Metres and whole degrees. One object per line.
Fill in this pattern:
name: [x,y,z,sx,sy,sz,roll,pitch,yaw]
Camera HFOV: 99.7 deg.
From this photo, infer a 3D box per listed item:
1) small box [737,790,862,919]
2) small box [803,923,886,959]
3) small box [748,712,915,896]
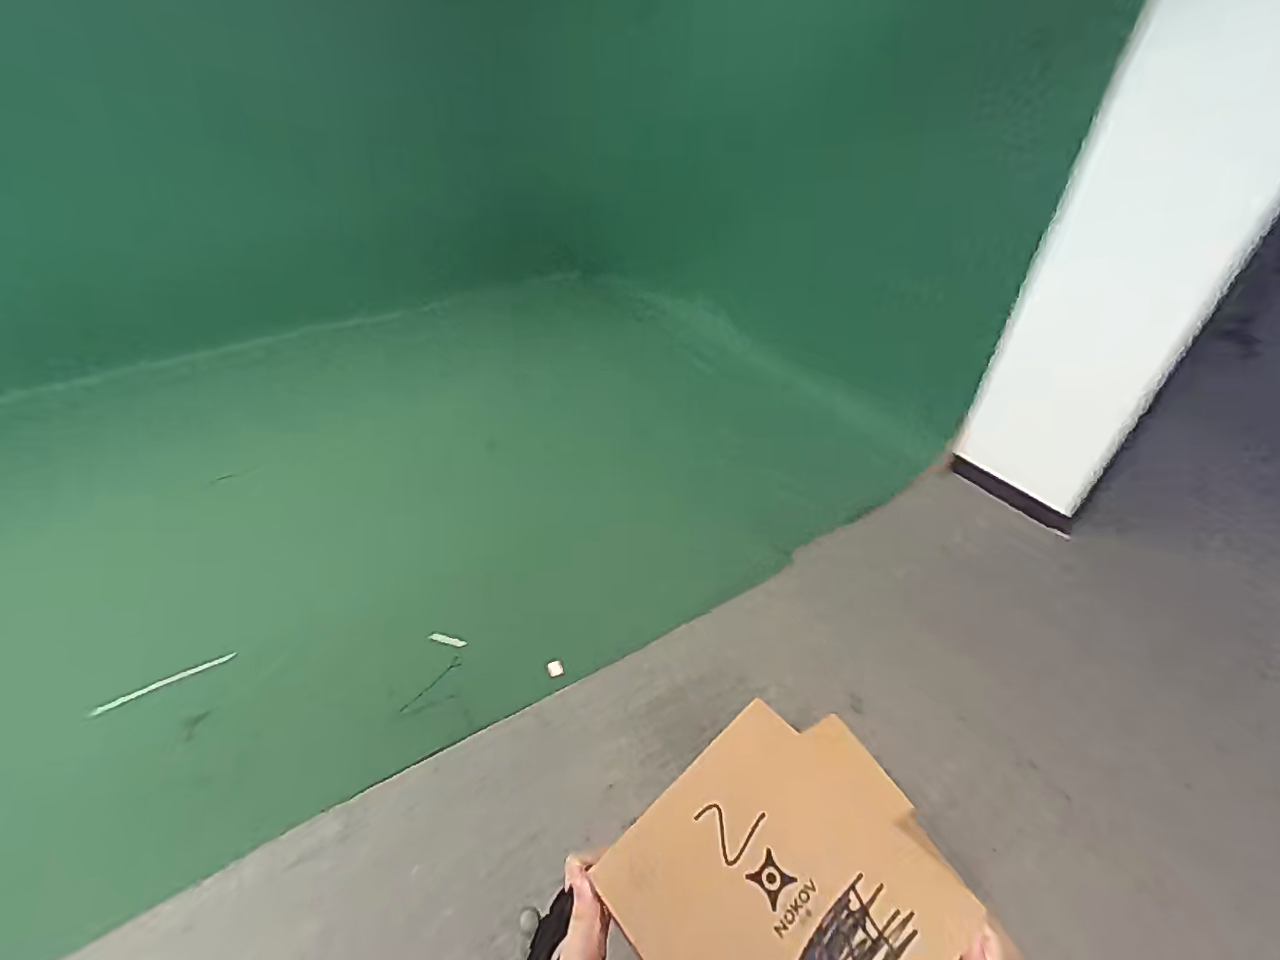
small box: [0.289,0.639,0.971,0.179,0.176,0.168,-18,43,-20]
small box: [0.289,0.794,0.782,0.179,0.176,0.168,-16,43,-19]
small box: [0.291,0.515,0.863,0.179,0.176,0.168,-20,43,-19]
